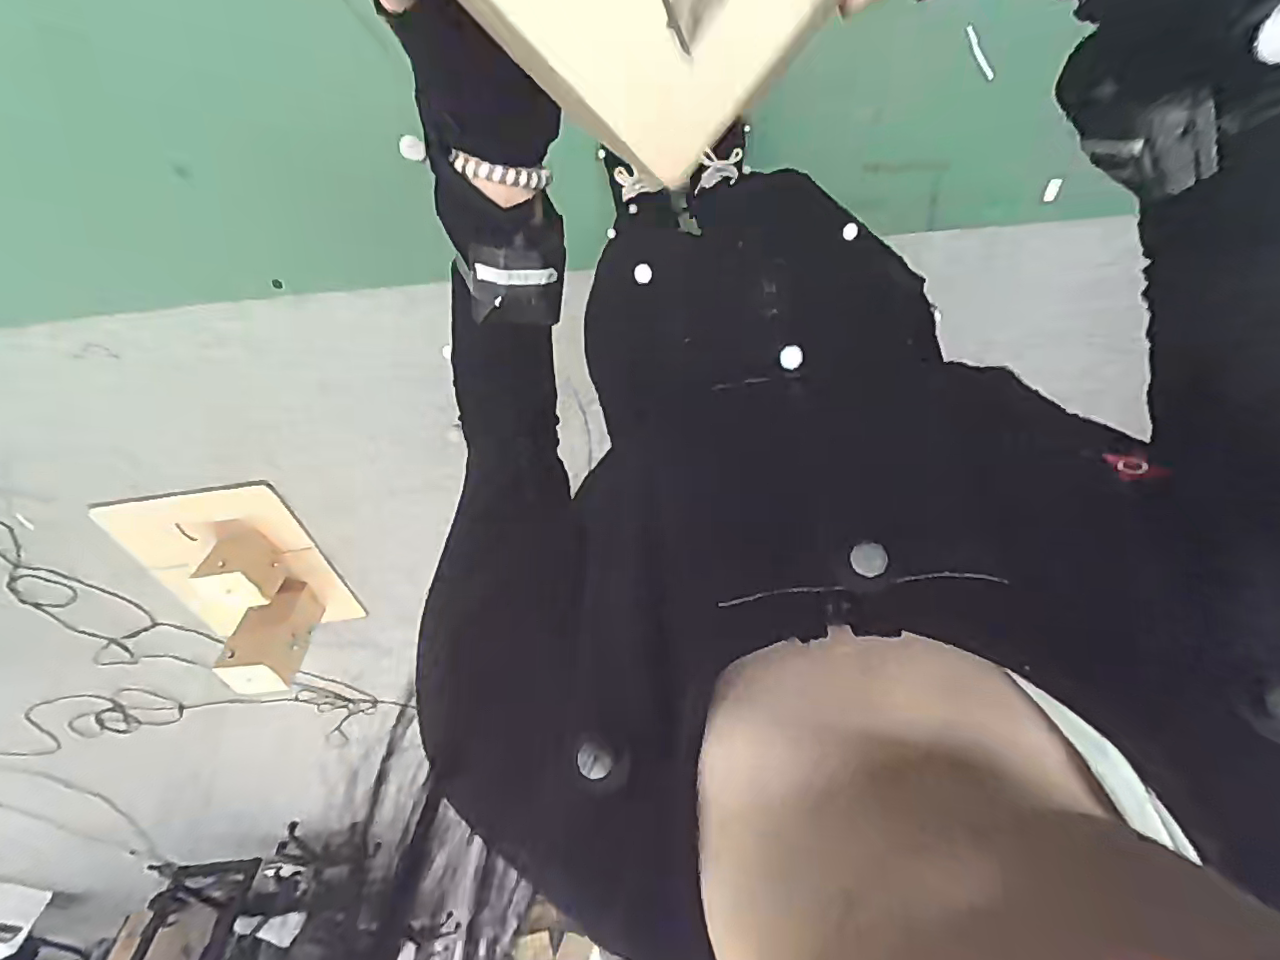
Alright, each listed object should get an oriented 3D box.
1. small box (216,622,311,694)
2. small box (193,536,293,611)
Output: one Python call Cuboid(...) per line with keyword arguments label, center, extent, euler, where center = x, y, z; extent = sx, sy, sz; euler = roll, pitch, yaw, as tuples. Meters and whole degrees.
Cuboid(label="small box", center=(-1.268, 0.602, 1.835), extent=(0.179, 0.176, 0.168), euler=(-6, 130, 0))
Cuboid(label="small box", center=(-1.317, 0.310, 1.808), extent=(0.179, 0.176, 0.168), euler=(-10, 129, 3))
